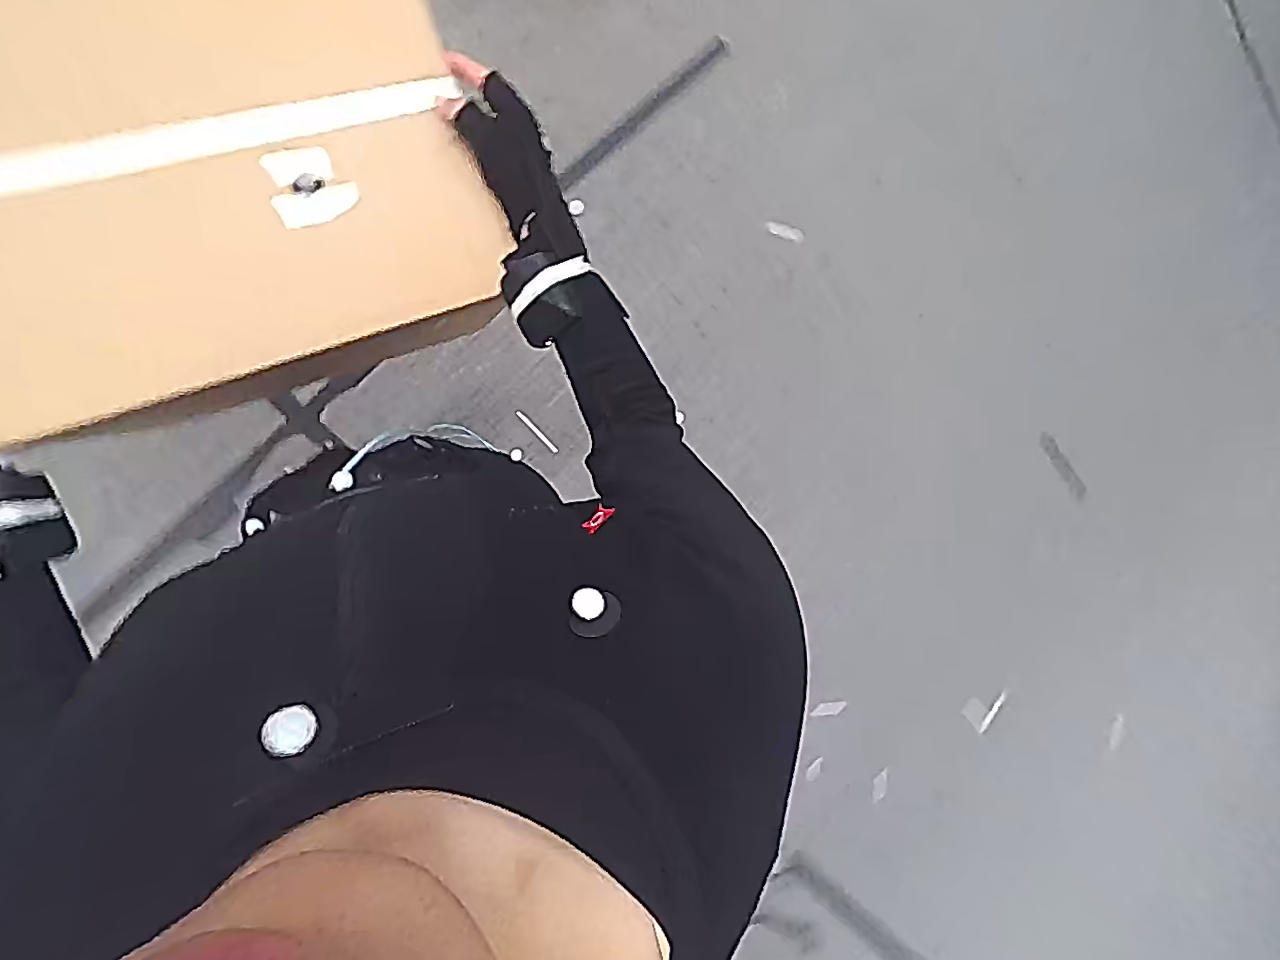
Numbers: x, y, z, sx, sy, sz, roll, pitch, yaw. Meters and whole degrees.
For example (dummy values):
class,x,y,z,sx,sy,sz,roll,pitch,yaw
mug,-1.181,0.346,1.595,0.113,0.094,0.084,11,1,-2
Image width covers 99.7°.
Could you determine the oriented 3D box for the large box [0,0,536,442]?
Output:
class,x,y,z,sx,sy,sz,roll,pitch,yaw
large box,-0.371,-0.256,0.534,0.408,0.320,0.320,-24,107,-19
